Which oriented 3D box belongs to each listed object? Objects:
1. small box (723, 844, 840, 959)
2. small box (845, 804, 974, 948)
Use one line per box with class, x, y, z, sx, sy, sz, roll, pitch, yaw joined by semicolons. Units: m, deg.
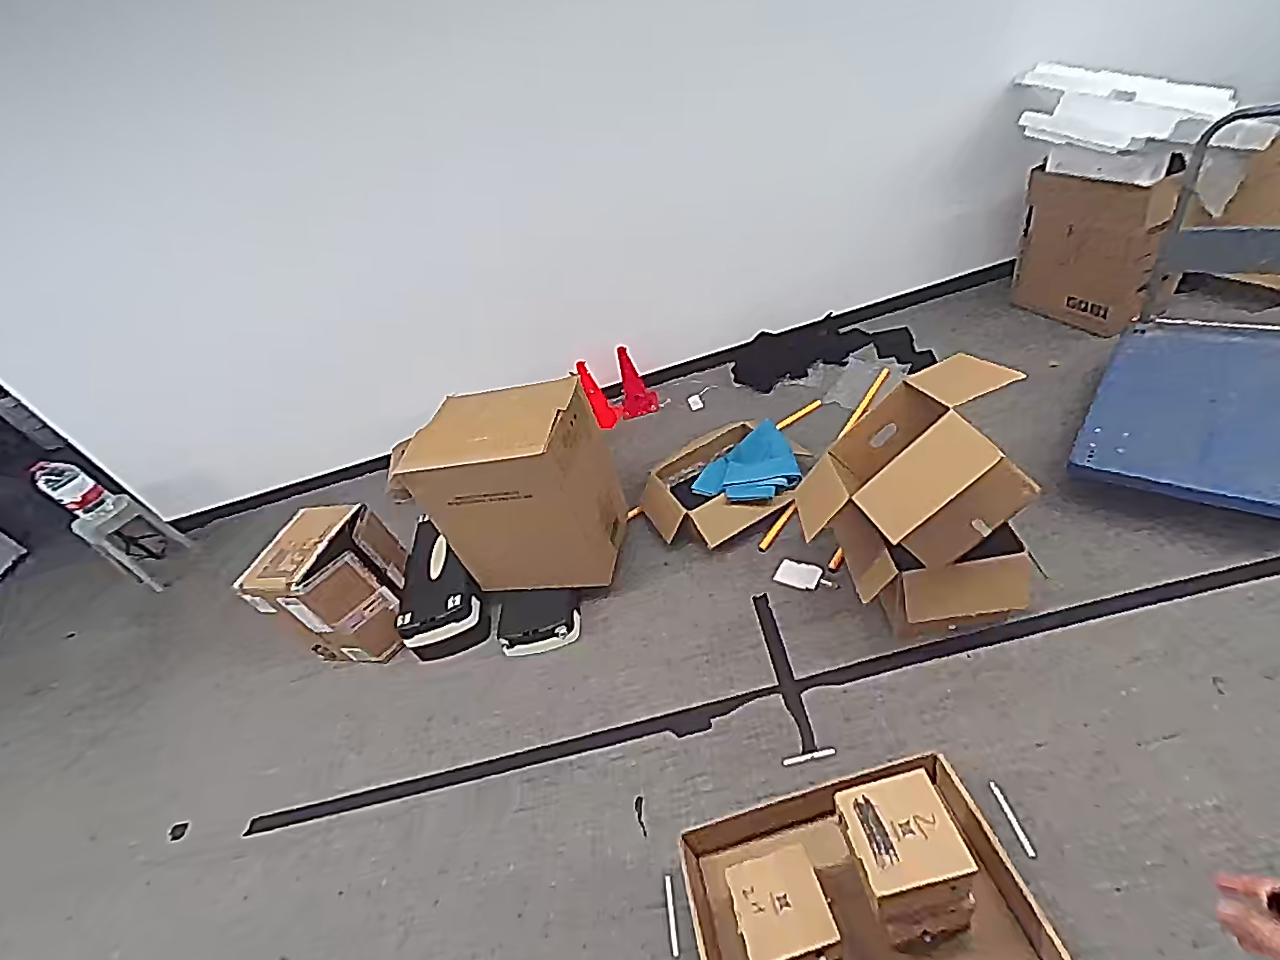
small box;0.286;0.880;1.095;0.179;0.176;0.168;-19;37;0
small box;0.532;0.797;1.089;0.168;0.176;0.179;-20;38;2
